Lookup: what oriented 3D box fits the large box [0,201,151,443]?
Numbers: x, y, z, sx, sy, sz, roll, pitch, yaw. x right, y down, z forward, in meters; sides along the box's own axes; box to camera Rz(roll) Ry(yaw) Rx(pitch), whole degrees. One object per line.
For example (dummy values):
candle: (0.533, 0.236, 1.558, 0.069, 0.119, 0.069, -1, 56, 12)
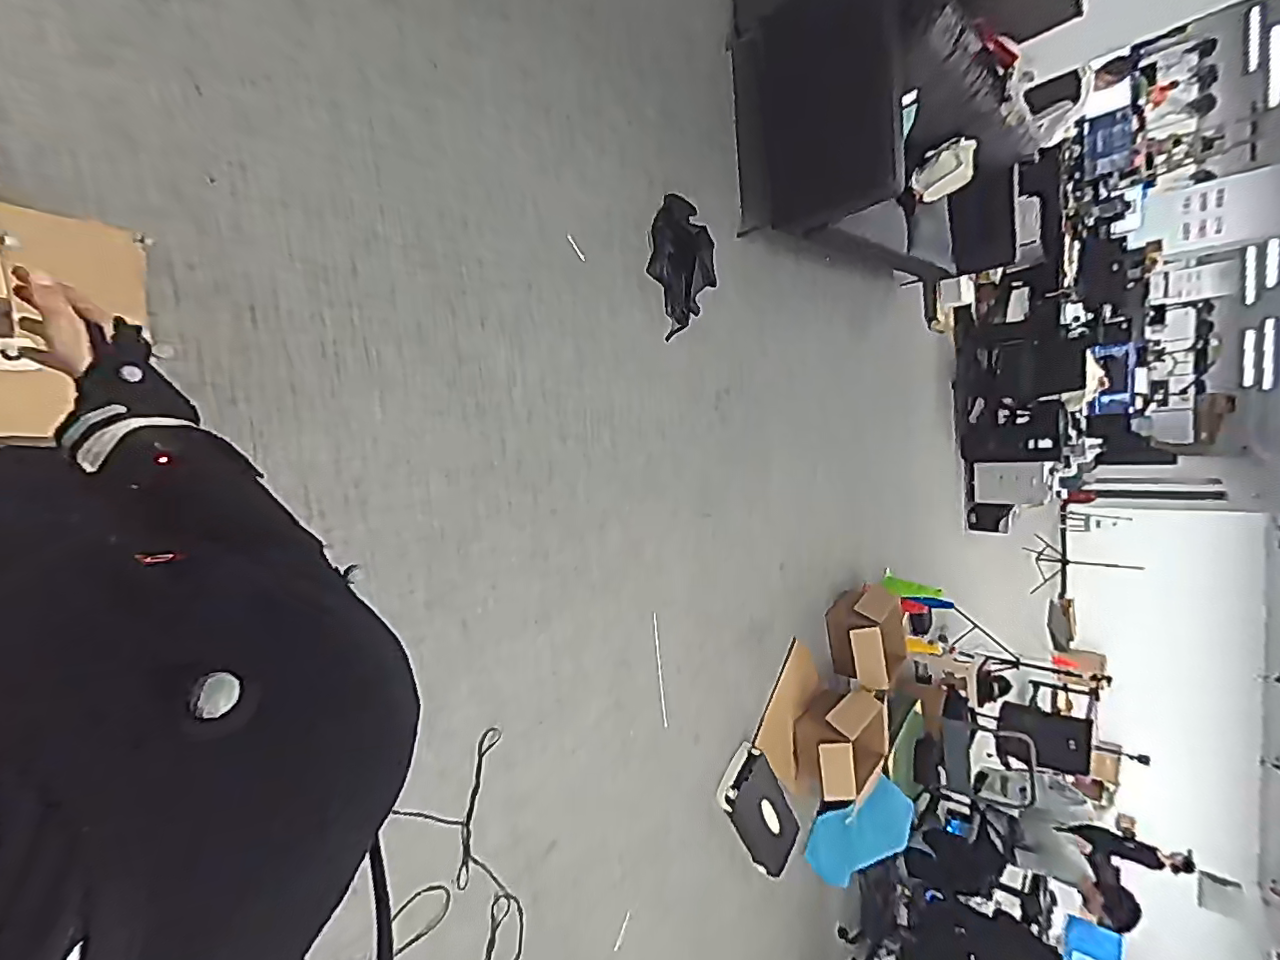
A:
large box: (-0.998, -0.214, 0.775, 0.408, 0.320, 0.320, -3, 93, -48)
